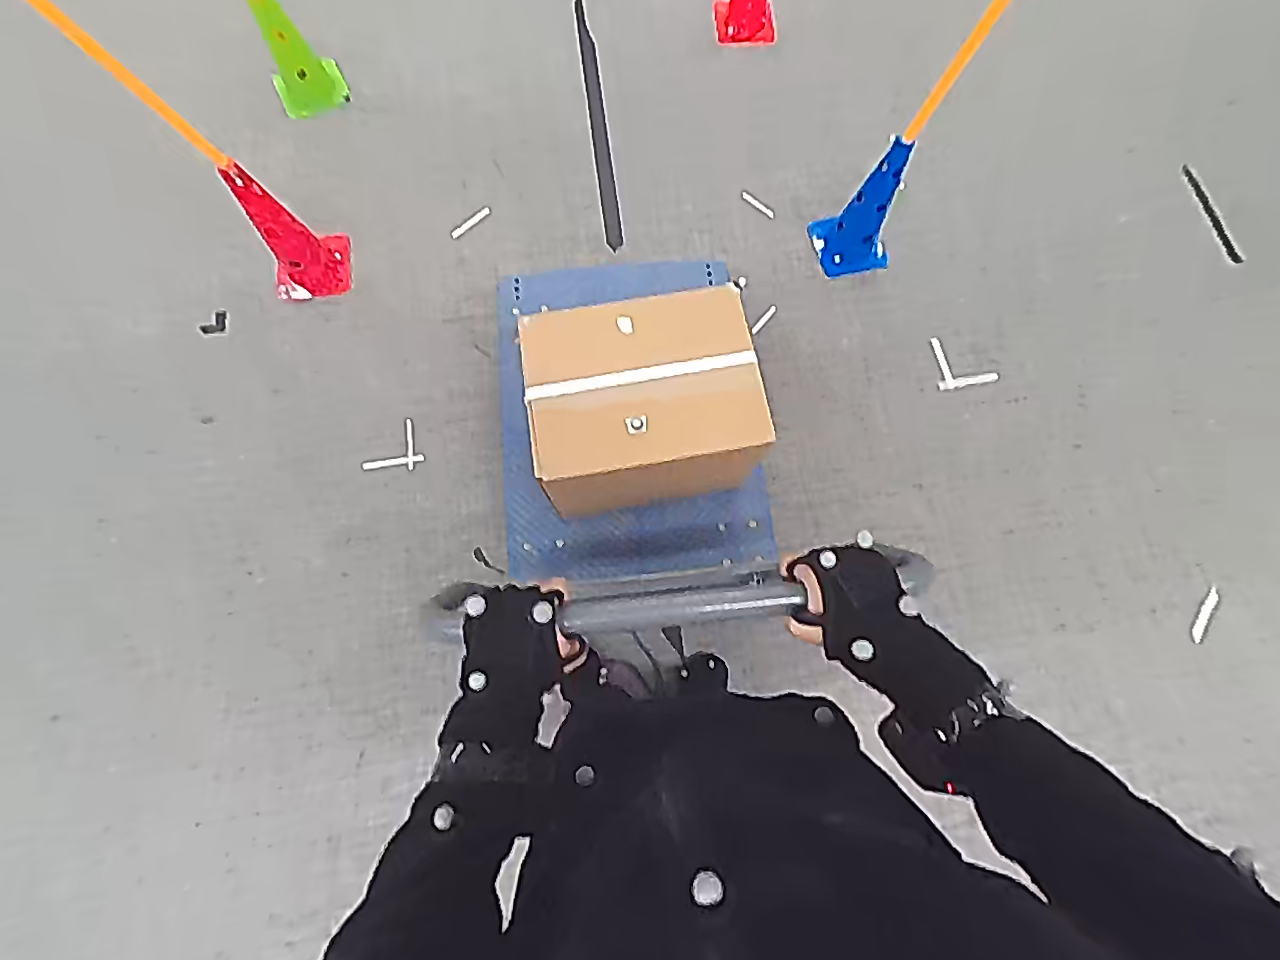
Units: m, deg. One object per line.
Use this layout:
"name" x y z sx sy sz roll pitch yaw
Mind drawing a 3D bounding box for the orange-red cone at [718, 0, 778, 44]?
"orange-red cone" 0.368 -1.593 1.659 0.199 0.360 0.198 -1 75 -3

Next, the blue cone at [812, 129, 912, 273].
"blue cone" 0.622 -0.746 1.440 0.193 0.380 0.192 -11 74 -5
